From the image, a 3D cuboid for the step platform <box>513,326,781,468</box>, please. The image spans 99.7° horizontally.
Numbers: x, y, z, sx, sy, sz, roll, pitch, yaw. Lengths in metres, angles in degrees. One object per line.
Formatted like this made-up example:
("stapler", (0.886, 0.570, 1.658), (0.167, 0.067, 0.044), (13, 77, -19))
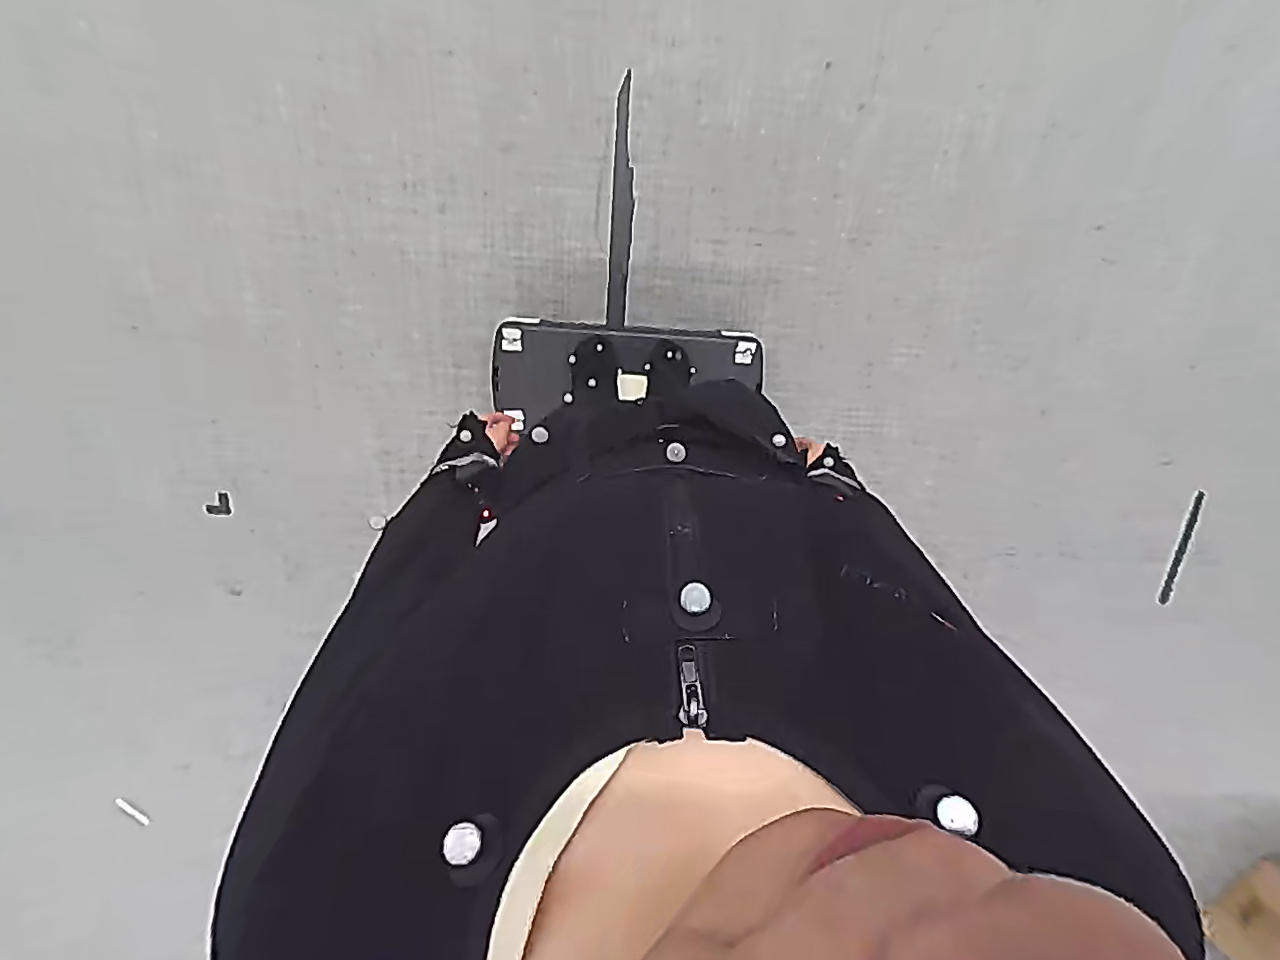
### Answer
("step platform", (0.014, -0.217, 1.423), (0.684, 0.204, 0.286), (7, 106, -5))
